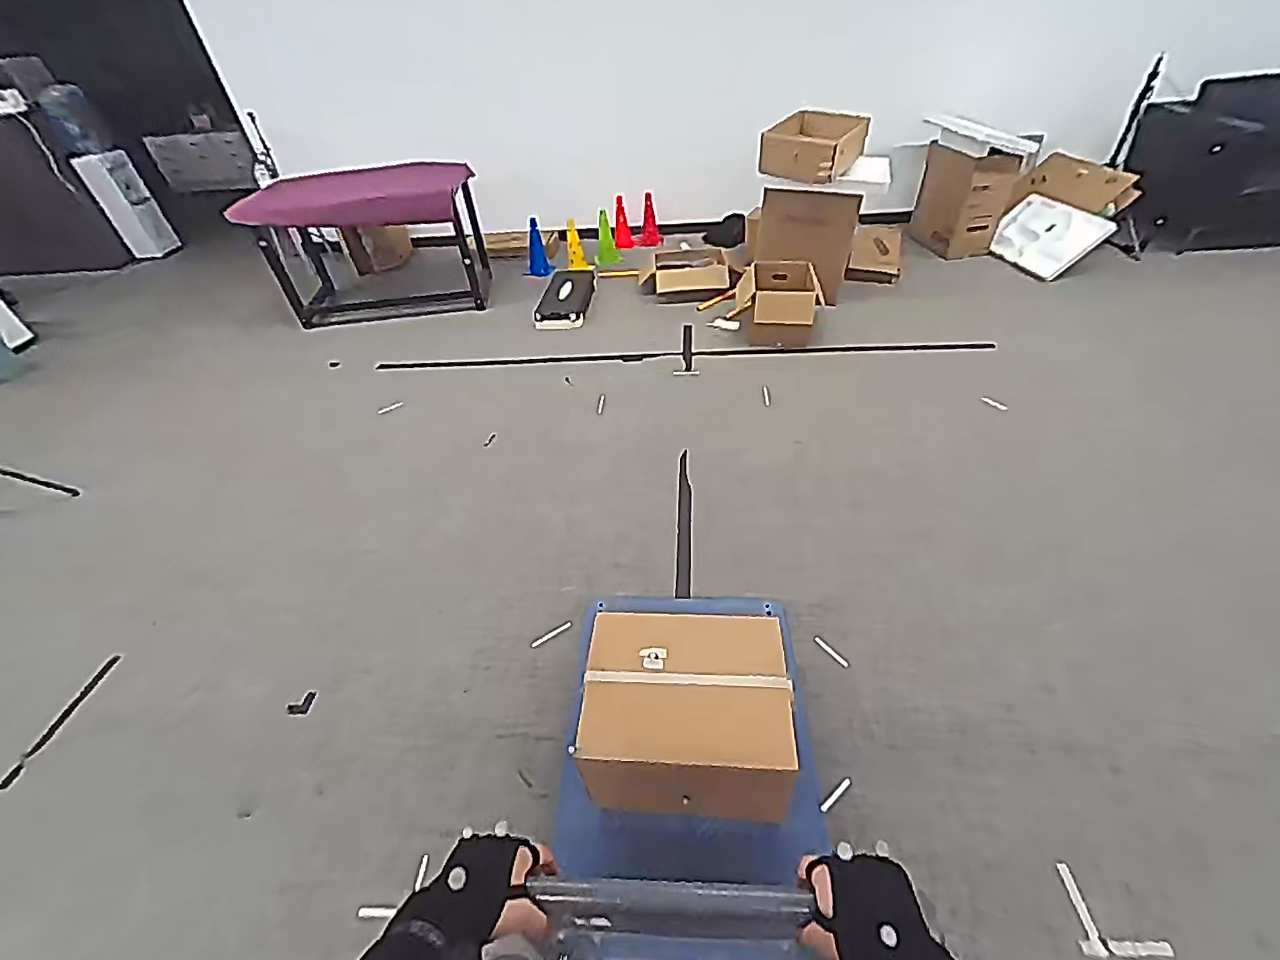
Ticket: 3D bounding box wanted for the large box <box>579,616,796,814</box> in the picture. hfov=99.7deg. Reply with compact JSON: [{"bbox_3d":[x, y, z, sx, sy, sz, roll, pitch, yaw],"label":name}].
[{"bbox_3d":[0.105,0.517,1.195,0.408,0.320,0.320,-1,42,6],"label":"large box"}]
